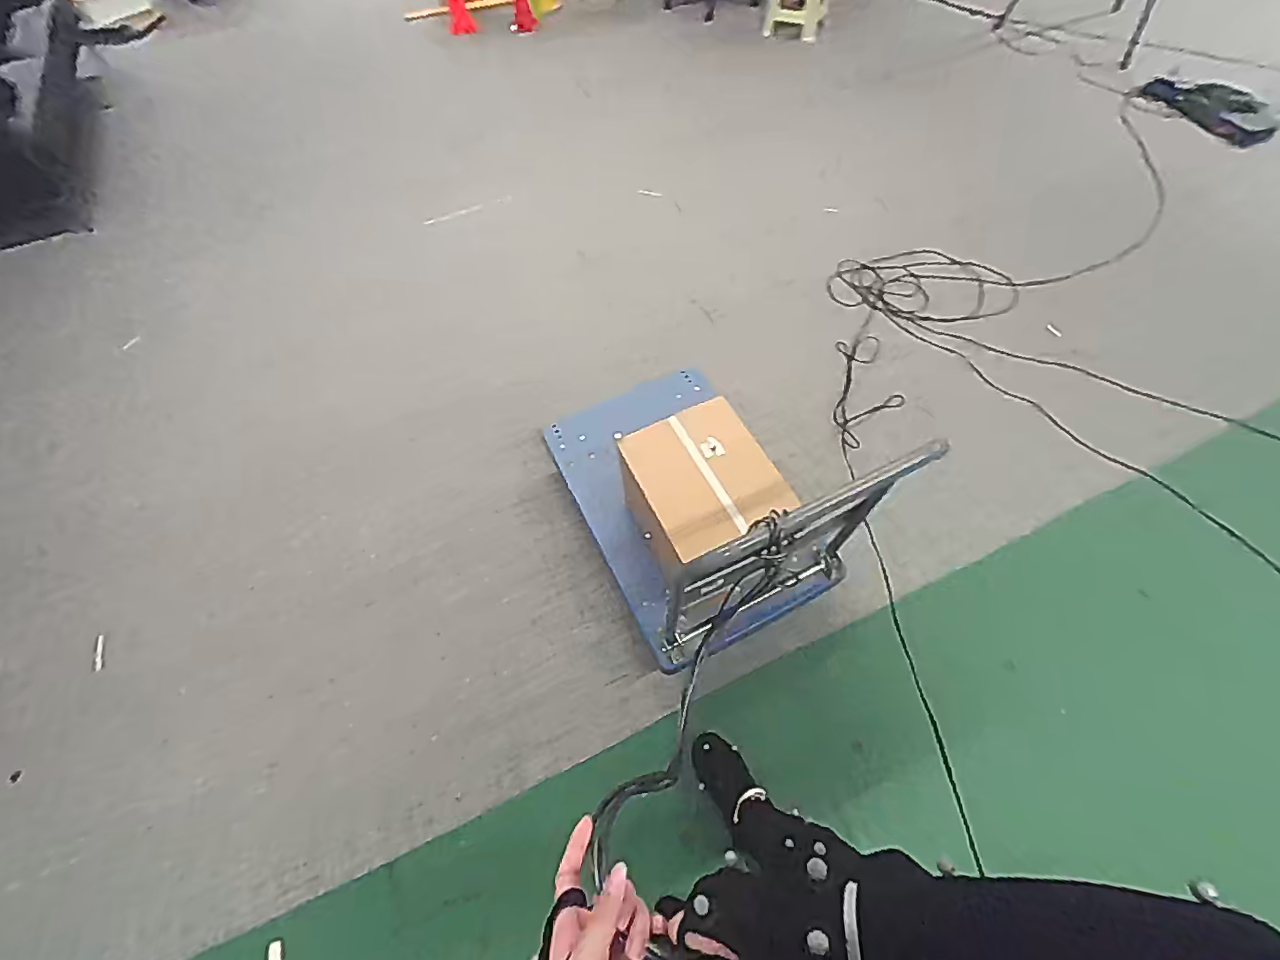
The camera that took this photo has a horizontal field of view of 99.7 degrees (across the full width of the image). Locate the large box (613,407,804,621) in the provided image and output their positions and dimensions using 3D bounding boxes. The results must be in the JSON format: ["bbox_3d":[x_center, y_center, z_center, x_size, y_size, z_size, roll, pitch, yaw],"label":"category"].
[{"bbox_3d":[0.165,0.091,1.426,0.320,0.320,0.408,-24,59,-12],"label":"large box"}]
